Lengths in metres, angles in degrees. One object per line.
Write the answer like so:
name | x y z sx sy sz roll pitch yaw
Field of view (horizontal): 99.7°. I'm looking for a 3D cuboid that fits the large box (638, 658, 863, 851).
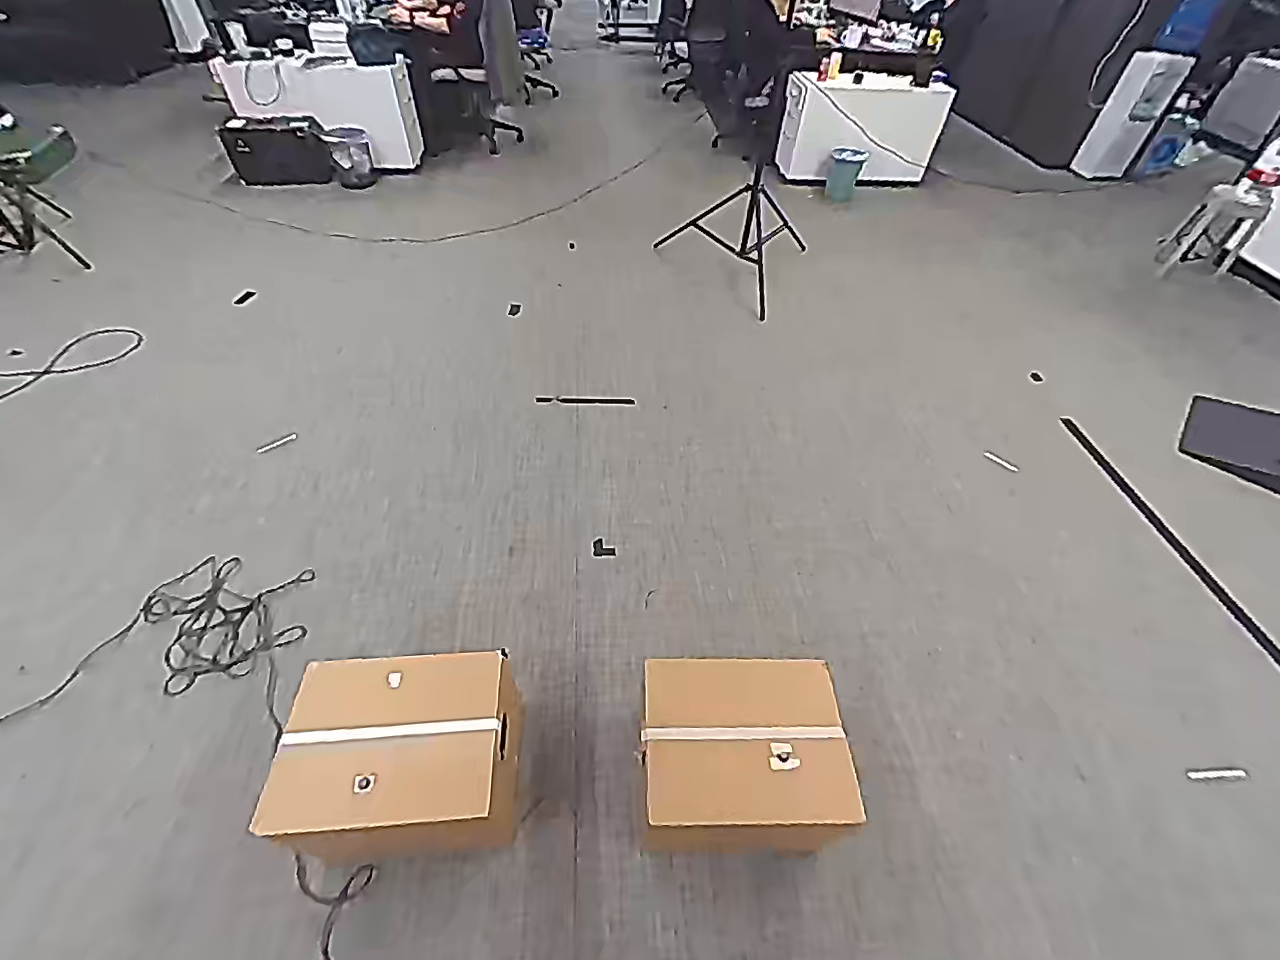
large box | 0.207 0.609 1.201 0.408 0.320 0.320 2 48 -3
